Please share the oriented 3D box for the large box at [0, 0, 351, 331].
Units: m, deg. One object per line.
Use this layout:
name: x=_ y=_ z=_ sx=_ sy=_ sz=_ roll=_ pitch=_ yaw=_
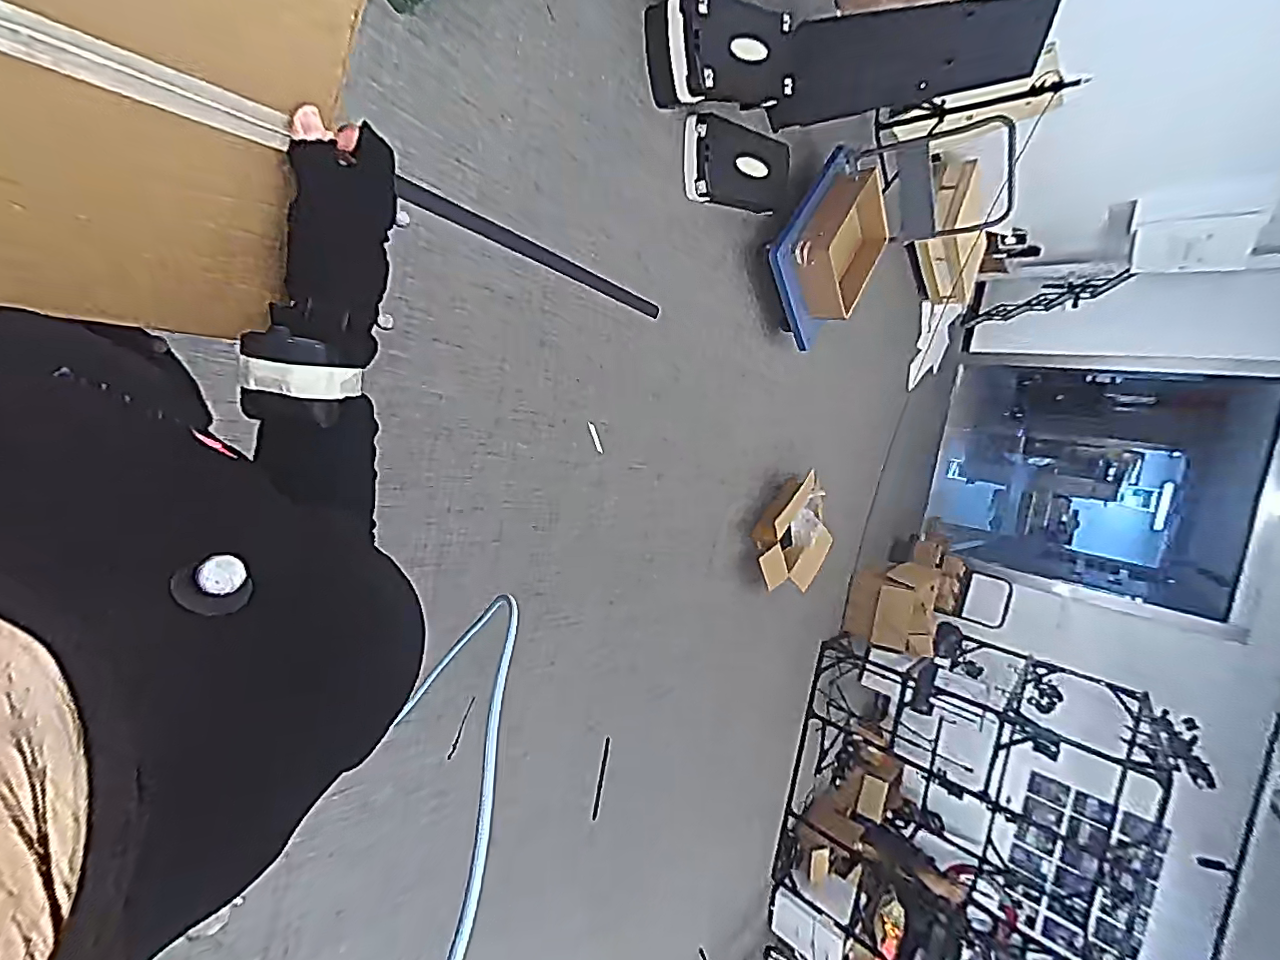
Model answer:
large box: x=-0.419 y=-0.318 z=0.270 sx=0.408 sy=0.320 sz=0.320 roll=-4 pitch=140 yaw=-49
